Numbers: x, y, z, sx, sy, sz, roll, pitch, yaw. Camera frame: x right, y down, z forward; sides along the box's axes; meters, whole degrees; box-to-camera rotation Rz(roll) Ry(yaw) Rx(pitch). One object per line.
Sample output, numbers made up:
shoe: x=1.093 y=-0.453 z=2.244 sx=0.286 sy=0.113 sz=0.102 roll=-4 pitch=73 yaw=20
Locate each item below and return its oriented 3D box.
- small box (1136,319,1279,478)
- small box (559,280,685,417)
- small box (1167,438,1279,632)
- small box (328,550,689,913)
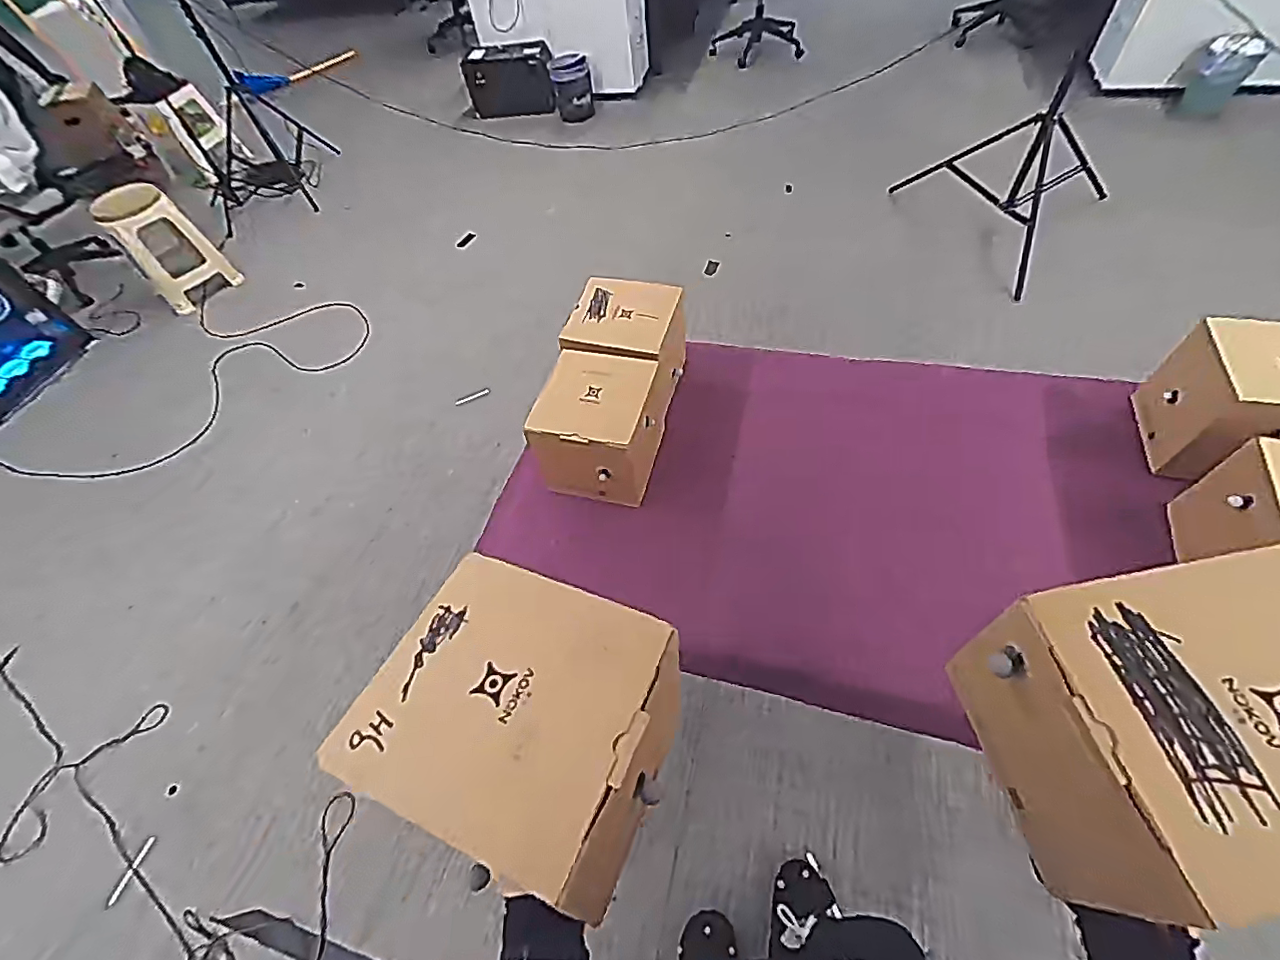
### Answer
small box: x=0.867 y=-0.105 z=0.777 sx=0.179 sy=0.176 sz=0.168 roll=11 pitch=58 yaw=13
small box: x=-0.023 y=-0.235 z=0.981 sx=0.179 sy=0.176 sz=0.168 roll=12 pitch=60 yaw=13
small box: x=0.809 y=0.079 z=0.665 sx=0.168 sy=0.176 sz=0.179 roll=13 pitch=57 yaw=17
small box: x=-0.074 y=0.186 z=0.405 sx=0.179 sy=0.176 sz=0.168 roll=17 pitch=52 yaw=18
